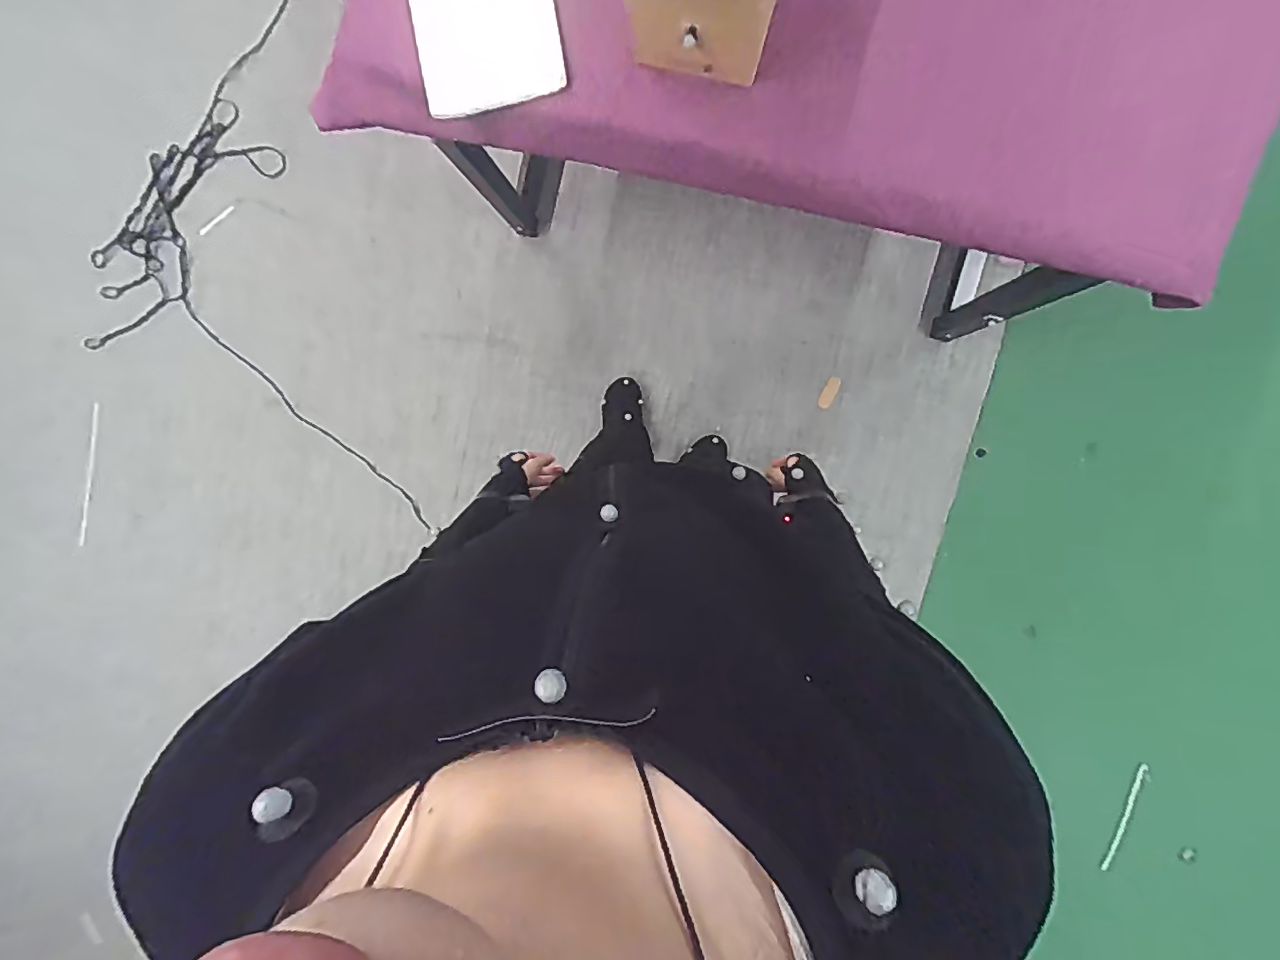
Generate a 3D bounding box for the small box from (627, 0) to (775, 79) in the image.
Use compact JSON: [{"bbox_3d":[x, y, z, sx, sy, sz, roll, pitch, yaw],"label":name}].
[{"bbox_3d":[0.085,-0.623,0.637,0.168,0.176,0.179,16,97,4],"label":"small box"}]
